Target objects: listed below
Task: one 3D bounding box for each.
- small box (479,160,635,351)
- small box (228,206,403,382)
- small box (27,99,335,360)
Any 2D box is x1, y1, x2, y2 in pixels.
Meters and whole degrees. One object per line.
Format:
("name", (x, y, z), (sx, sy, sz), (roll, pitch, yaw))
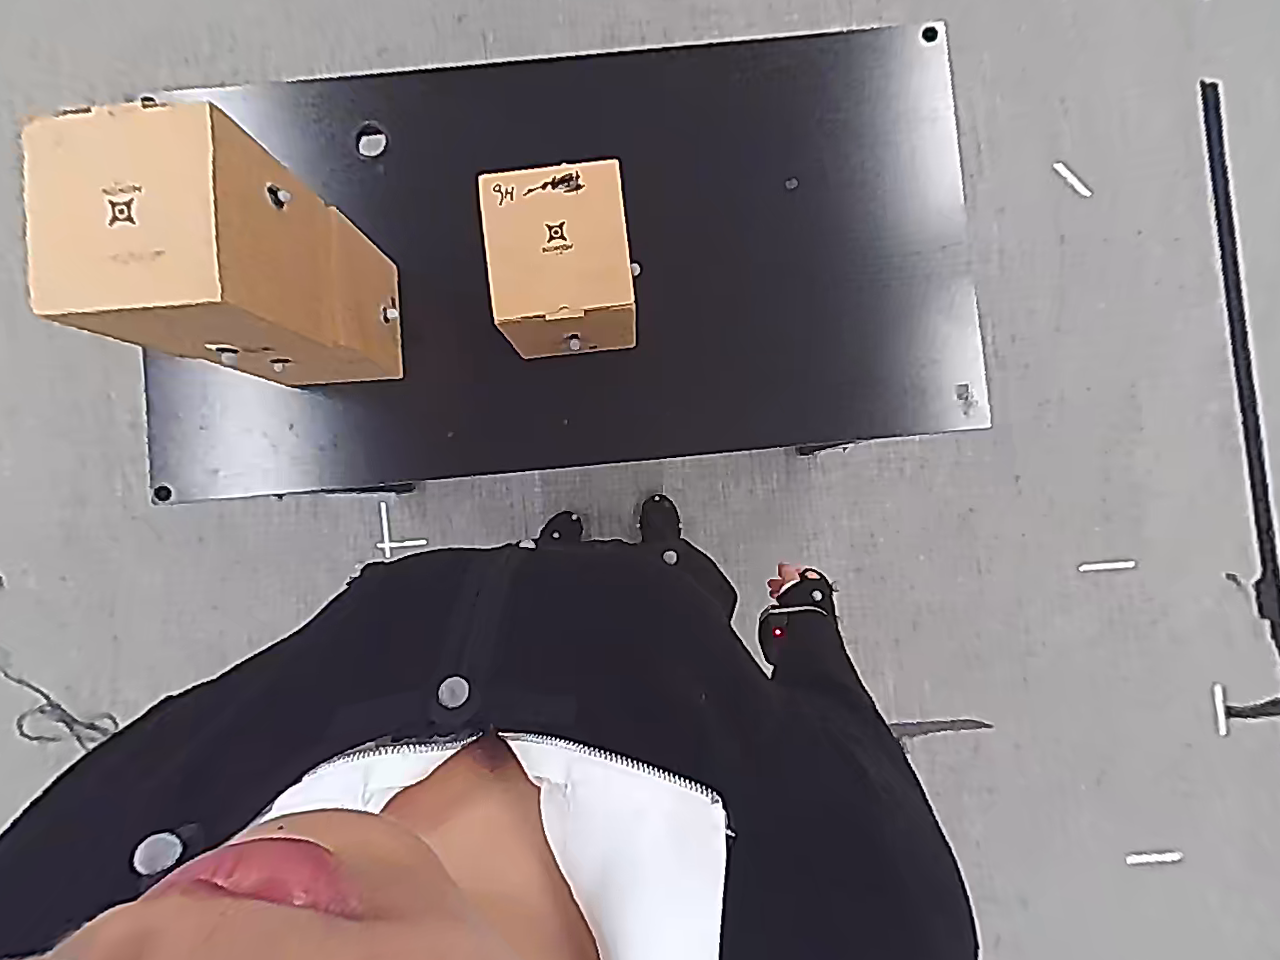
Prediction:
("small box", (-0.097, -0.275, 0.705), (0.168, 0.176, 0.179), (-7, 88, 0))
("small box", (-0.431, -0.227, 0.701), (0.179, 0.176, 0.168), (-4, 88, -1))
("small box", (-0.433, -0.231, 0.539), (0.168, 0.176, 0.179), (-5, 89, 1))
